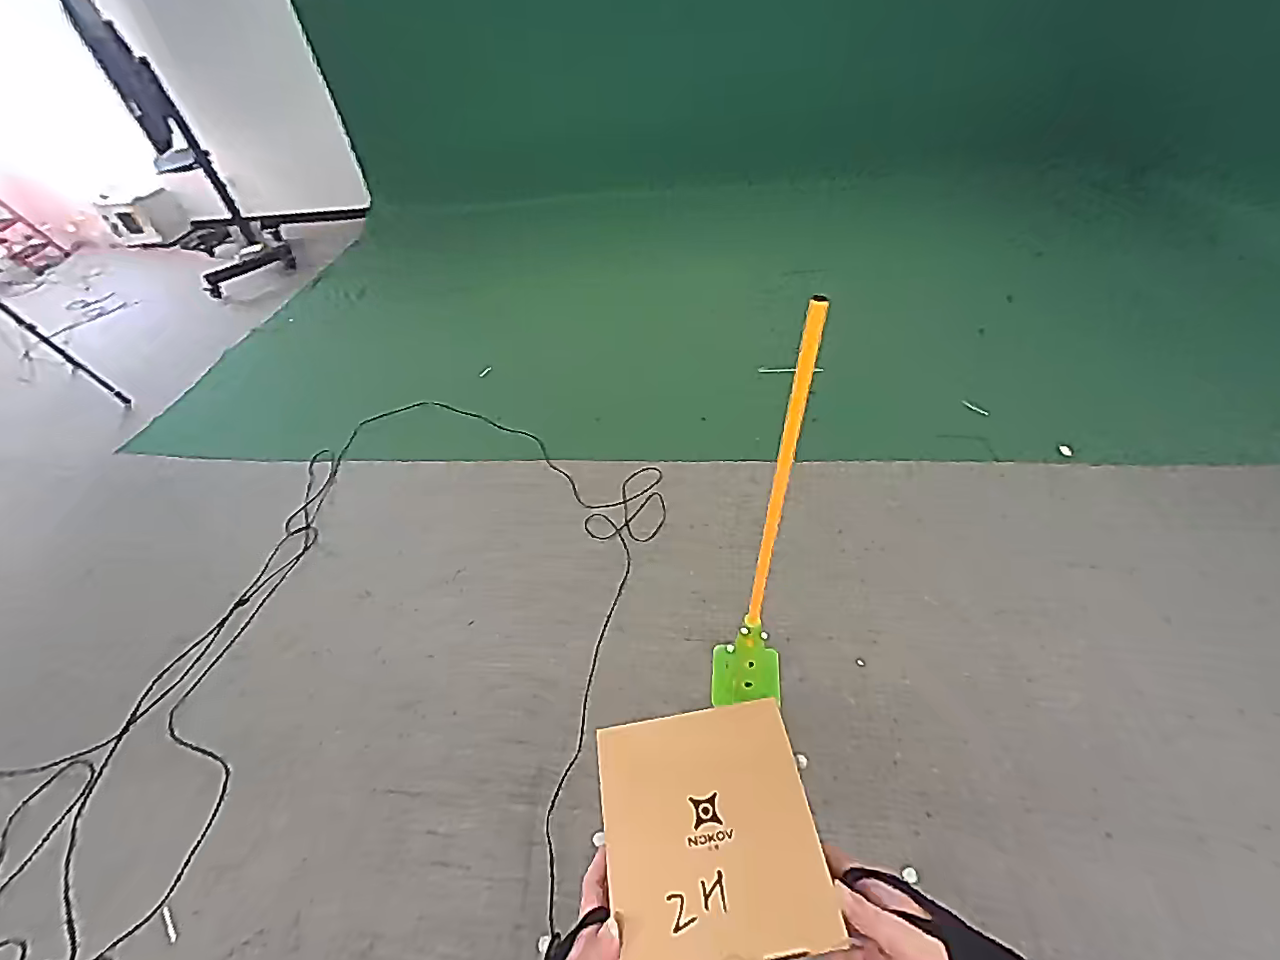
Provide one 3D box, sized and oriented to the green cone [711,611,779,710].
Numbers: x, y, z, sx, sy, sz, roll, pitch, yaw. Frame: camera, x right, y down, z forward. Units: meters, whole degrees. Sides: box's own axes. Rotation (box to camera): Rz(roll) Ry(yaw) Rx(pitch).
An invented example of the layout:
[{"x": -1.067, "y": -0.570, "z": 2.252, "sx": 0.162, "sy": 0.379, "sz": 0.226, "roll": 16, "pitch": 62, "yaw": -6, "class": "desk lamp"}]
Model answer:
[{"x": 0.302, "y": 0.477, "z": 1.527, "sx": 0.202, "sy": 0.368, "sz": 0.200, "roll": 1, "pitch": 46, "yaw": 10, "class": "green cone"}]
